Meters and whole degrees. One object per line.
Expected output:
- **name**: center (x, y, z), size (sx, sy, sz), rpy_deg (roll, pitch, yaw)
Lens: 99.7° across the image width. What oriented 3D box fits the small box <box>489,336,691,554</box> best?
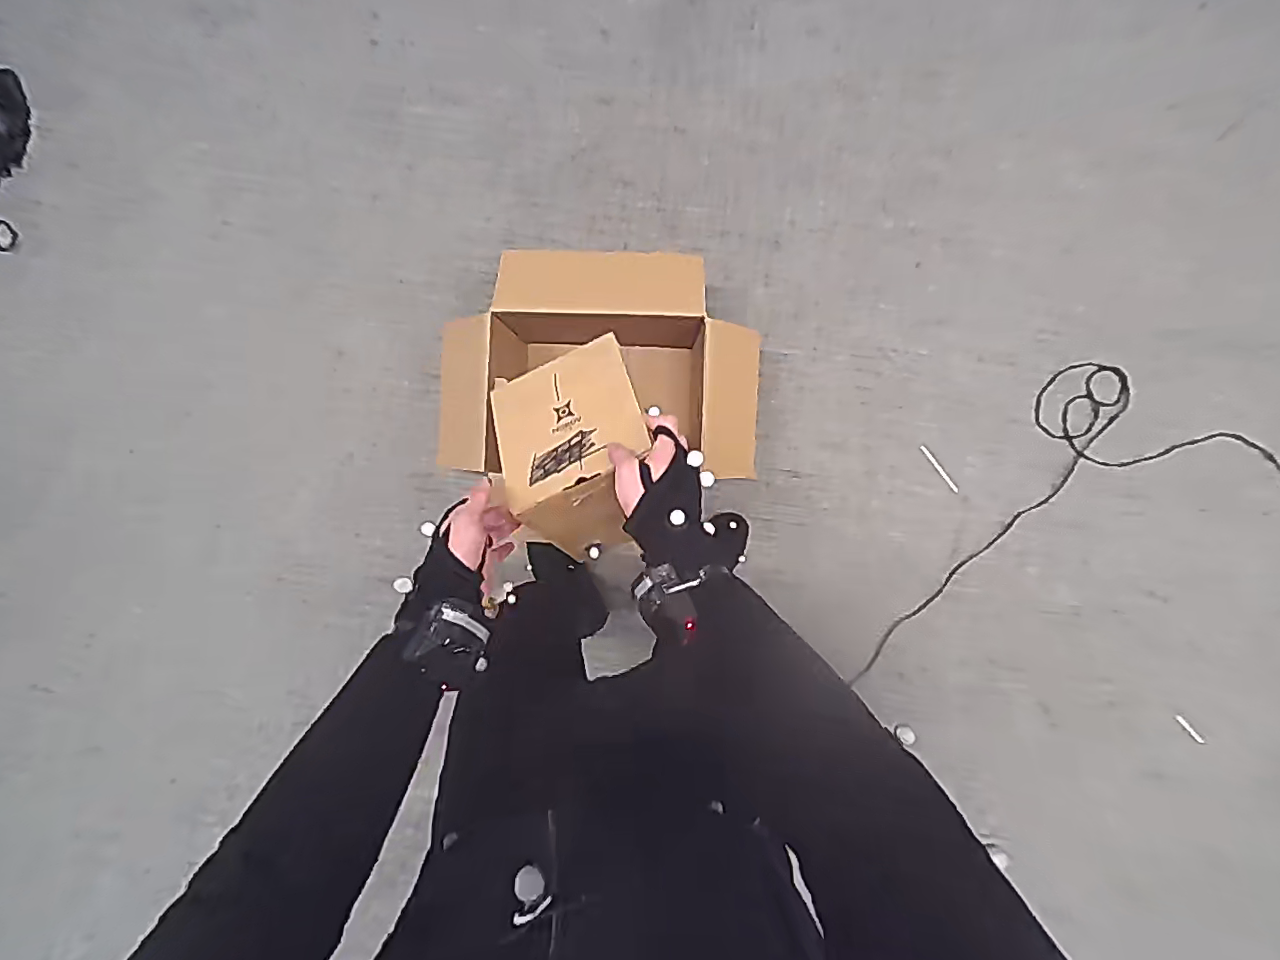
- **small box**: center (-0.054, -0.027, 0.641), size (0.168, 0.176, 0.179), rpy_deg (-24, 58, 9)
